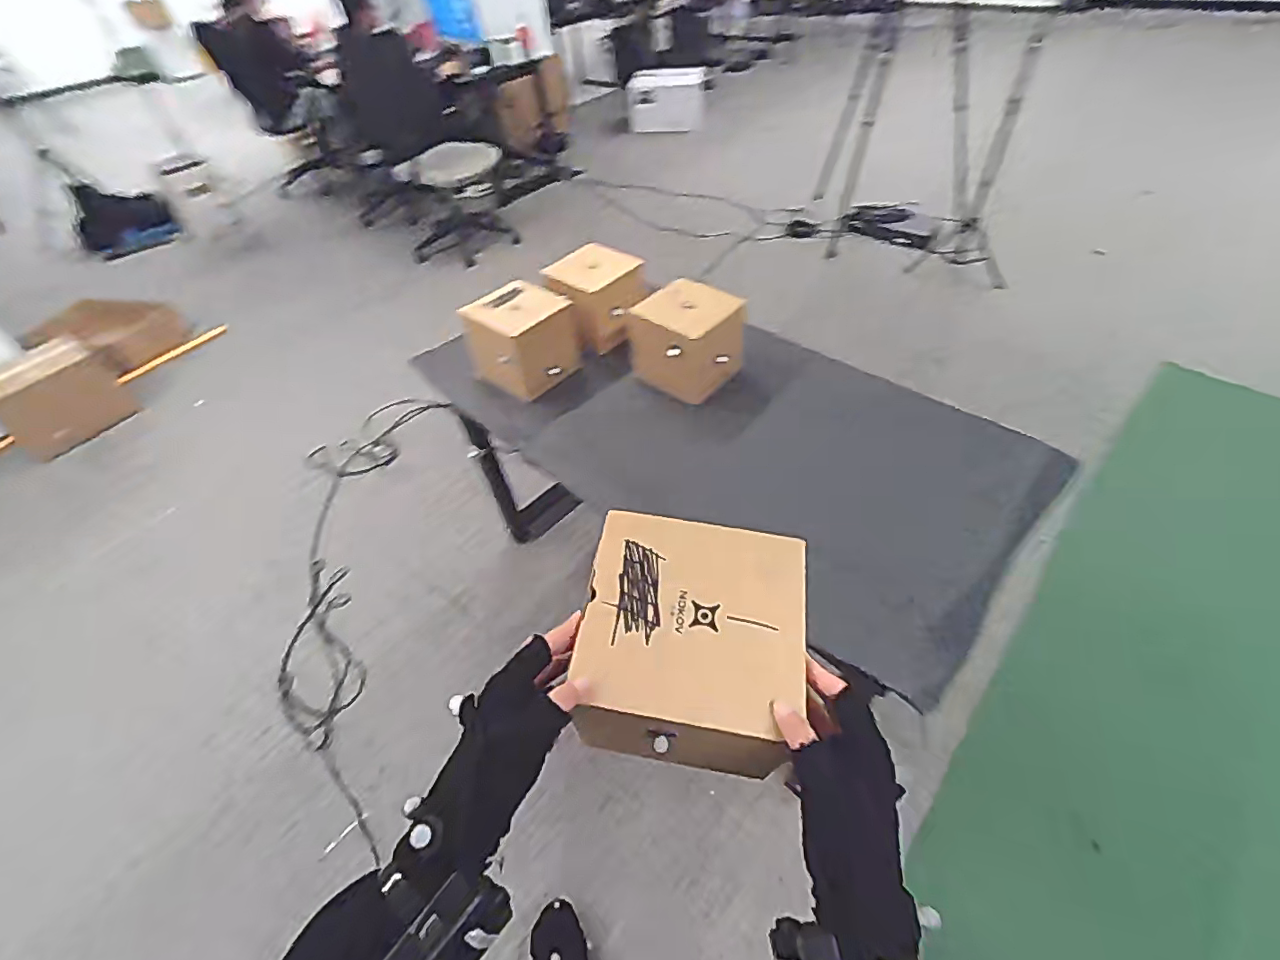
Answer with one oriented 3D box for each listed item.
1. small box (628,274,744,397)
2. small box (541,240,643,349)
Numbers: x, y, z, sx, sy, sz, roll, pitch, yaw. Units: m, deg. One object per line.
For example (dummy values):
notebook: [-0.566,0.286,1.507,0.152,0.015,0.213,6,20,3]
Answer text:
small box: [0.099,-0.299,1.137,0.179,0.176,0.168,32,59,30]
small box: [-0.104,-0.437,1.285,0.179,0.176,0.168,31,59,30]
